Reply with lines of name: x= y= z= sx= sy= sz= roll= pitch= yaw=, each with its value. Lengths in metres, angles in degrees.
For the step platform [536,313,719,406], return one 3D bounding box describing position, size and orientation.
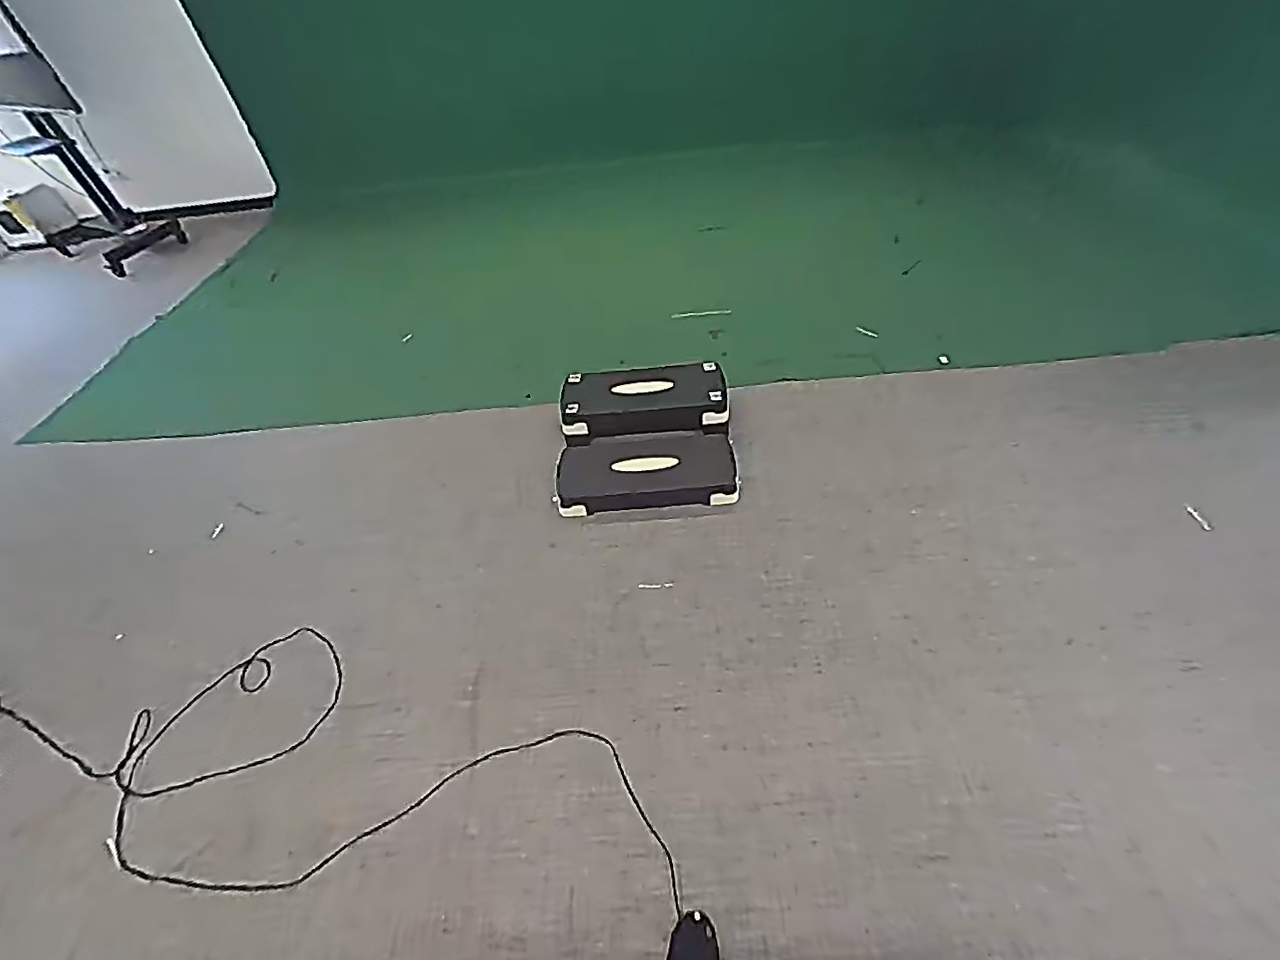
step platform: x=-0.042 y=-0.467 z=2.096 sx=0.684 sy=0.204 sz=0.286 roll=-5 pitch=47 yaw=3
